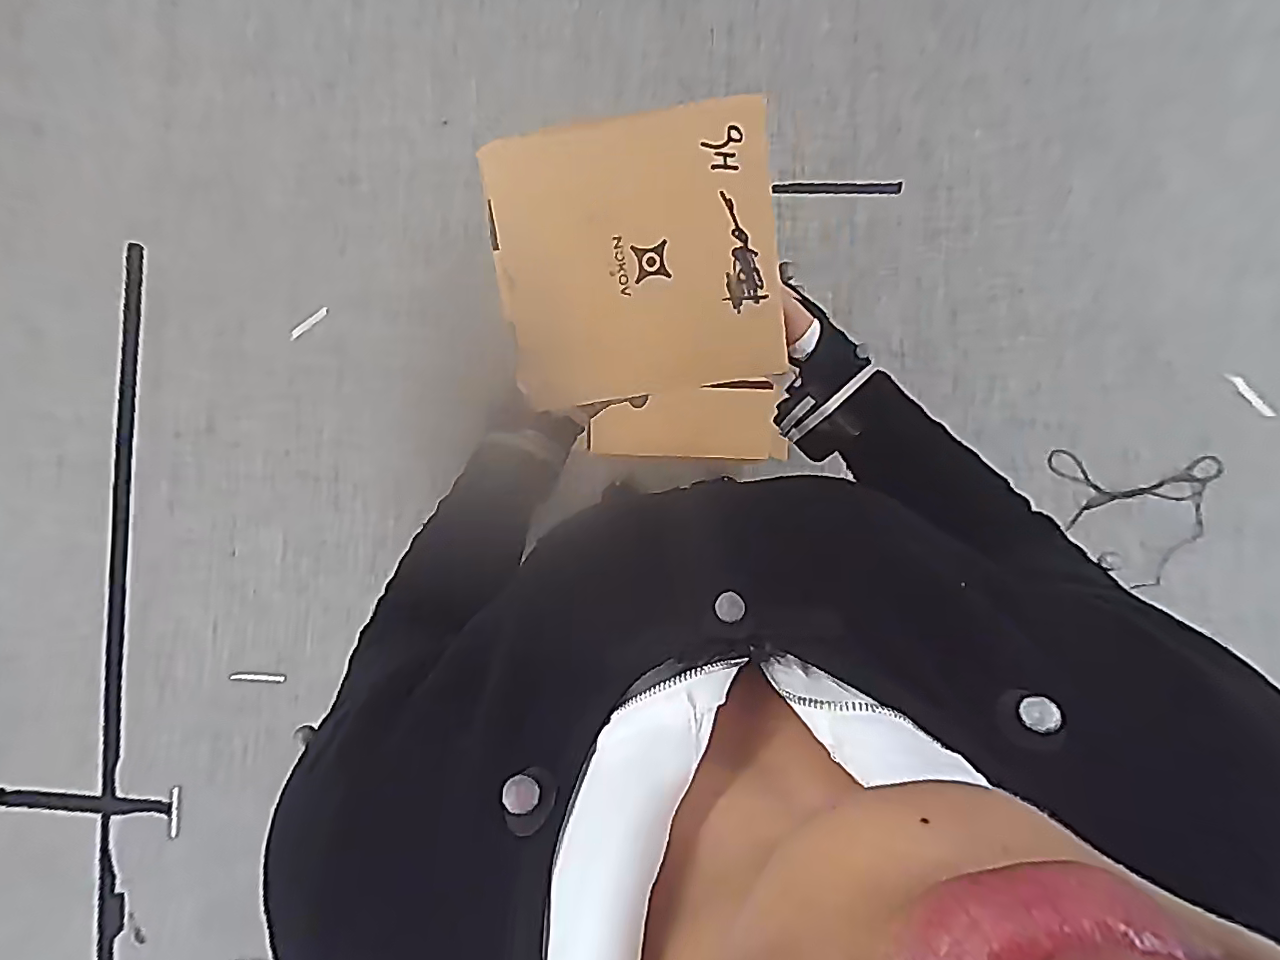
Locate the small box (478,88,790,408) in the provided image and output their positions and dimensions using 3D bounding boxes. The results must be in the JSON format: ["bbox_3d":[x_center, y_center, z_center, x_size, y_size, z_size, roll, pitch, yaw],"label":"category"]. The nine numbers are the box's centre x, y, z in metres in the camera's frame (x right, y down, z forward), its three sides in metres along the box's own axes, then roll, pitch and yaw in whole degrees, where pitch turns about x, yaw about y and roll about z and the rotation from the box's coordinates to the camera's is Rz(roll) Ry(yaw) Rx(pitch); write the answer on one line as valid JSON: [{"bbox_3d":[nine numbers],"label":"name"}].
[{"bbox_3d":[0.004,-0.151,0.408,0.179,0.176,0.168,-8,102,5],"label":"small box"}]
